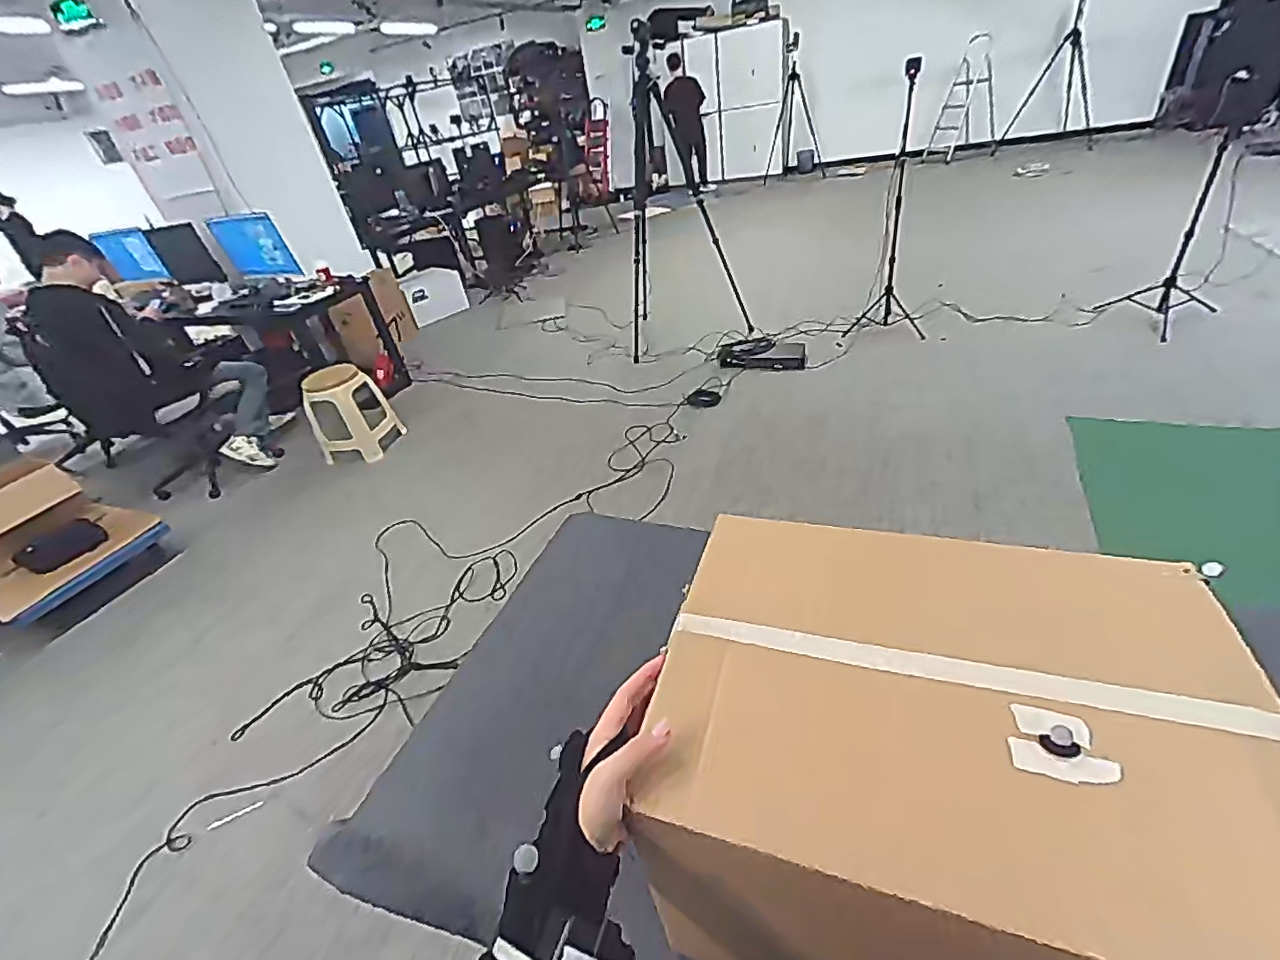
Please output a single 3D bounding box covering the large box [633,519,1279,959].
[{"bbox_3d":[0.243,0.267,0.502,0.408,0.320,0.320,6,38,20],"label":"large box"}]
